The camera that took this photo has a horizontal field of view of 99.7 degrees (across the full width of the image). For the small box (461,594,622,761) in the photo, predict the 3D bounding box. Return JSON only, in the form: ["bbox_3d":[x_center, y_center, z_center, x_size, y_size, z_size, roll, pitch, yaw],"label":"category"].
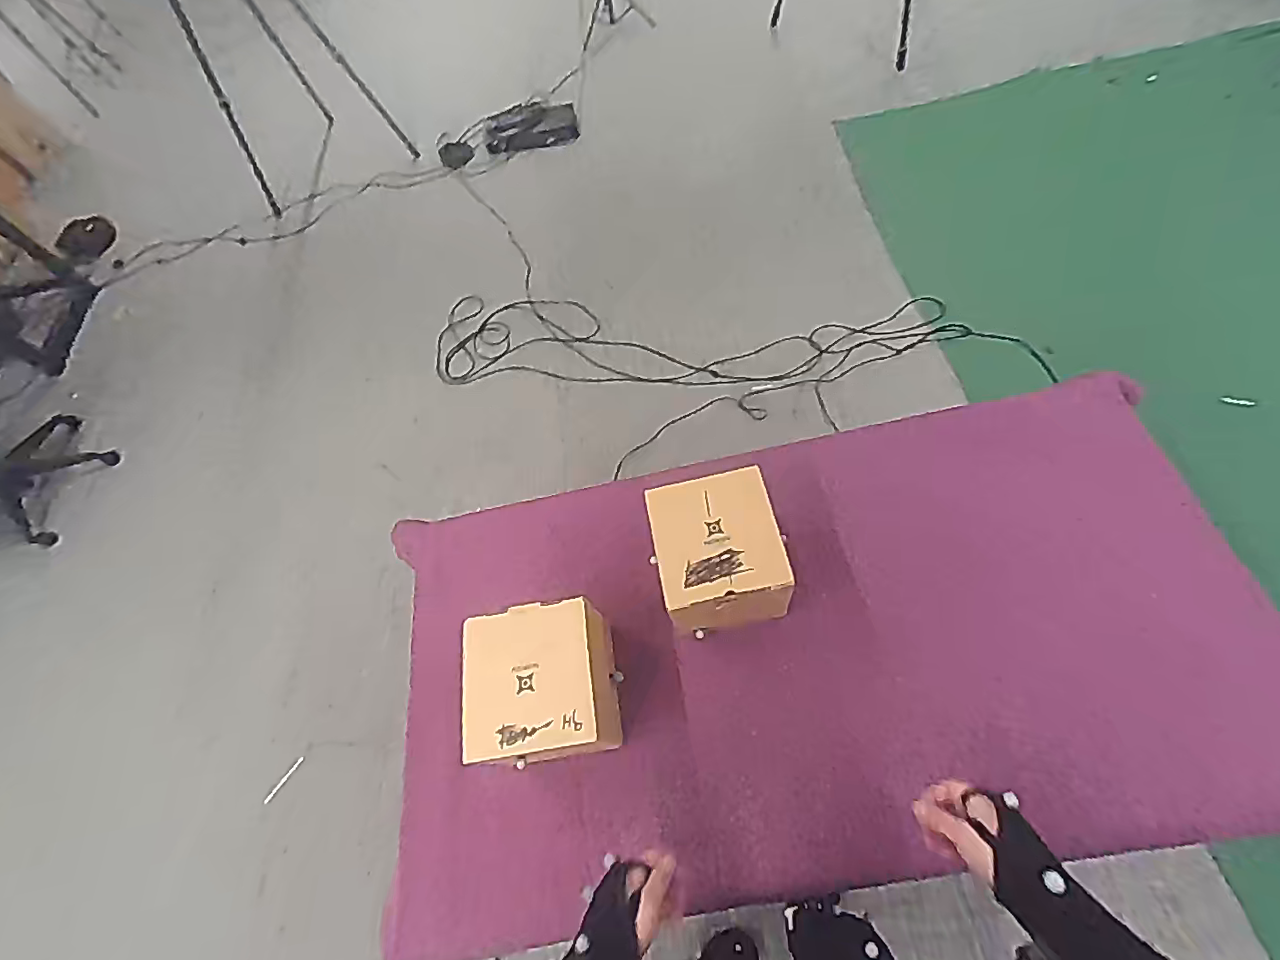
[{"bbox_3d":[-0.127,0.276,0.740,0.168,0.176,0.179,-12,60,5],"label":"small box"}]

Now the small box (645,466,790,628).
[{"bbox_3d":[0.112,0.107,0.789,0.168,0.176,0.179,-13,60,4],"label":"small box"}]
